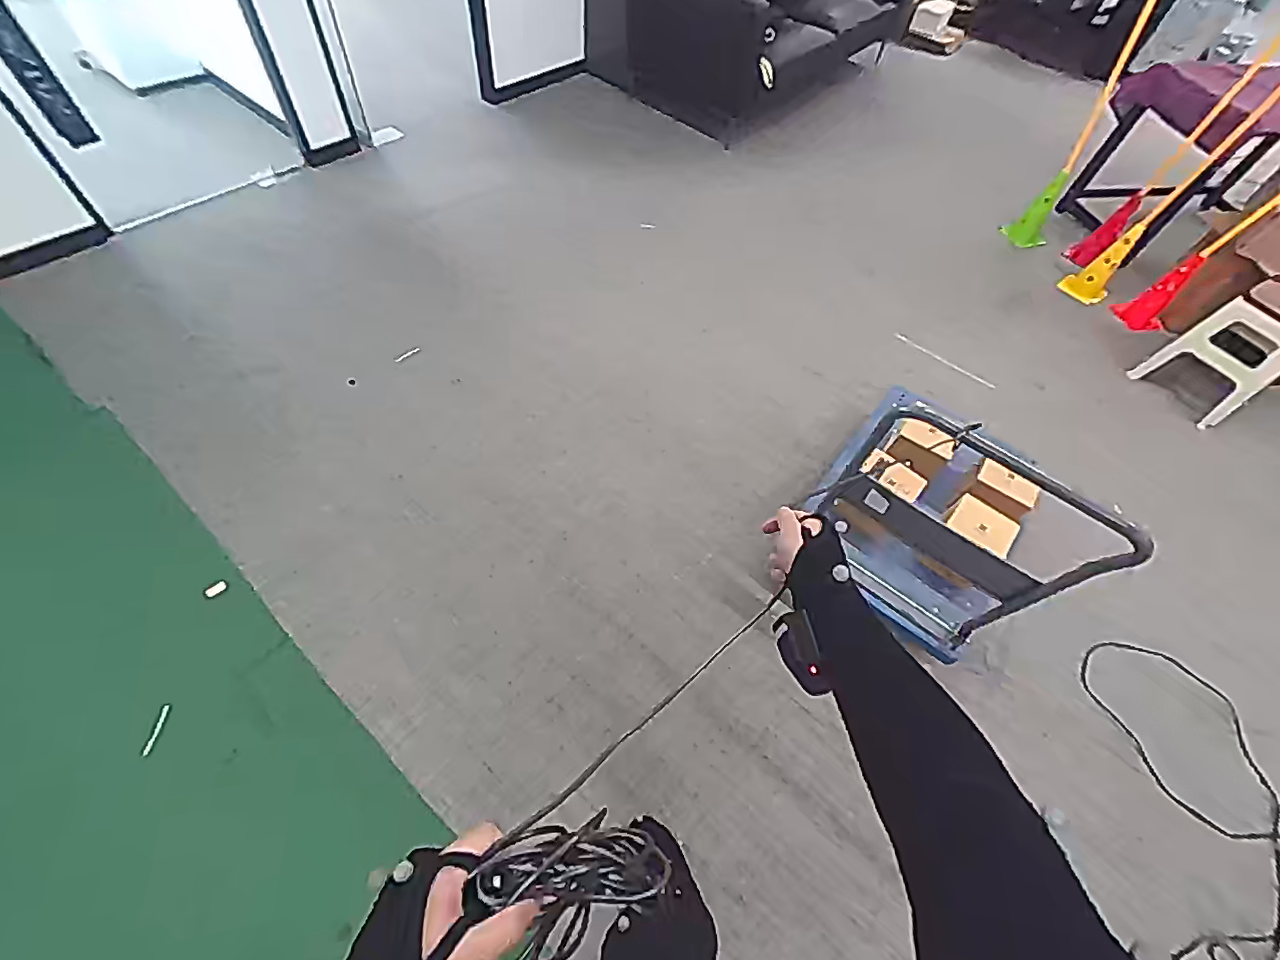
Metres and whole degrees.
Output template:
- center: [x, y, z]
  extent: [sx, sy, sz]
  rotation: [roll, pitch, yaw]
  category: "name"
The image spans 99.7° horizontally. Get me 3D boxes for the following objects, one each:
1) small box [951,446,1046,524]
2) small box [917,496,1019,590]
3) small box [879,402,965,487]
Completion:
- center: [1.104, 0.033, 1.677]
  extent: [0.168, 0.176, 0.179]
  rotation: [34, 61, 17]
  category: "small box"
- center: [0.941, 0.185, 1.566]
  extent: [0.168, 0.176, 0.179]
  rotation: [38, 62, 18]
  category: "small box"
- center: [0.906, -0.110, 1.751]
  extent: [0.168, 0.176, 0.179]
  rotation: [33, 60, 15]
  category: "small box"
